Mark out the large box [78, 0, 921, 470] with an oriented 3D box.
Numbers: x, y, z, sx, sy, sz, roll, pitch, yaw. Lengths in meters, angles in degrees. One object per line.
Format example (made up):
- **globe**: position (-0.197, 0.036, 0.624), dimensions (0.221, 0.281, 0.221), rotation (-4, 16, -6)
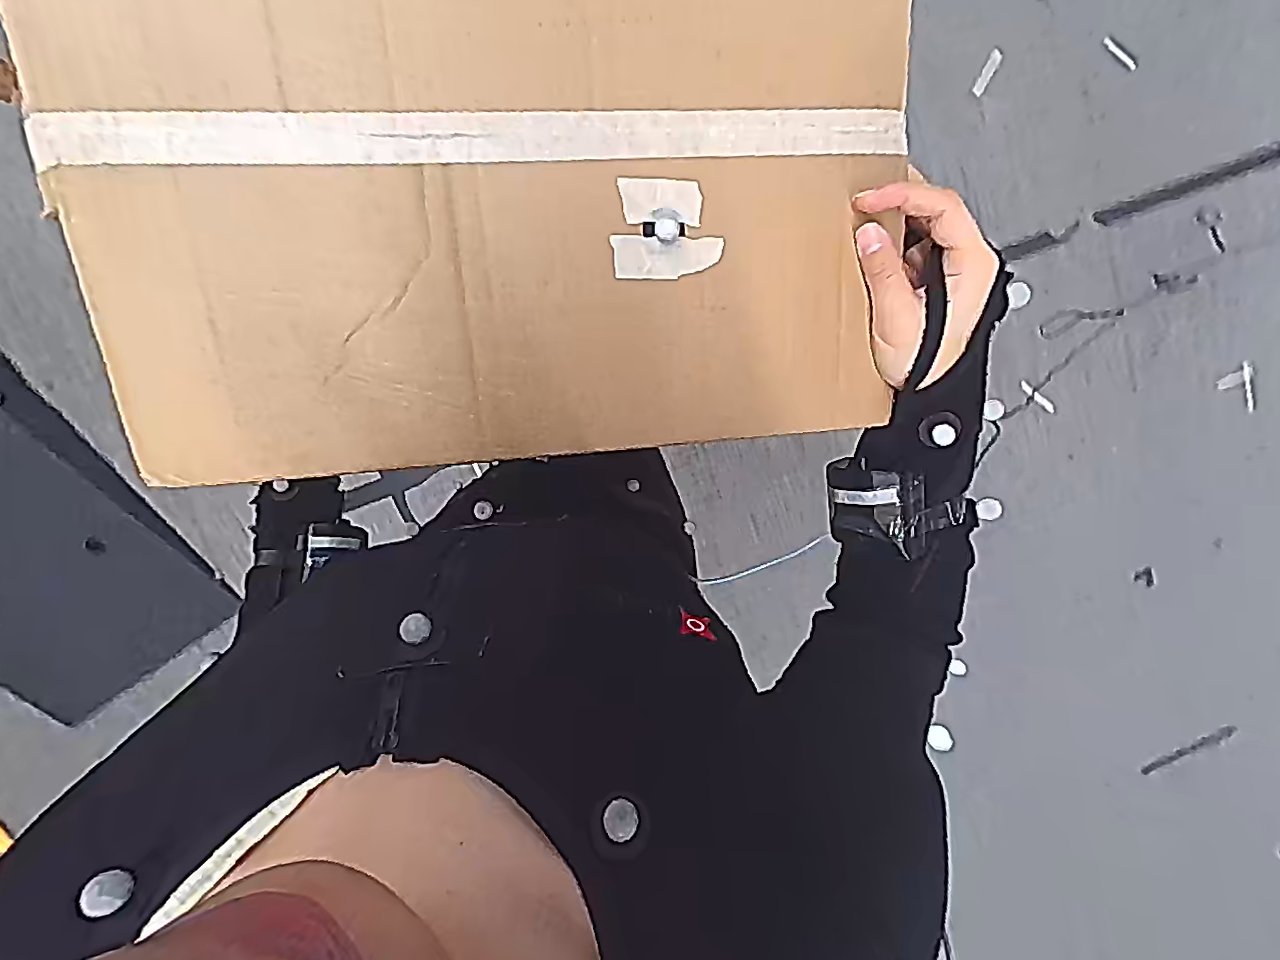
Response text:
- **large box**: position (-0.071, -0.203, 0.415), dimensions (0.408, 0.320, 0.320), rotation (-5, 104, -10)
